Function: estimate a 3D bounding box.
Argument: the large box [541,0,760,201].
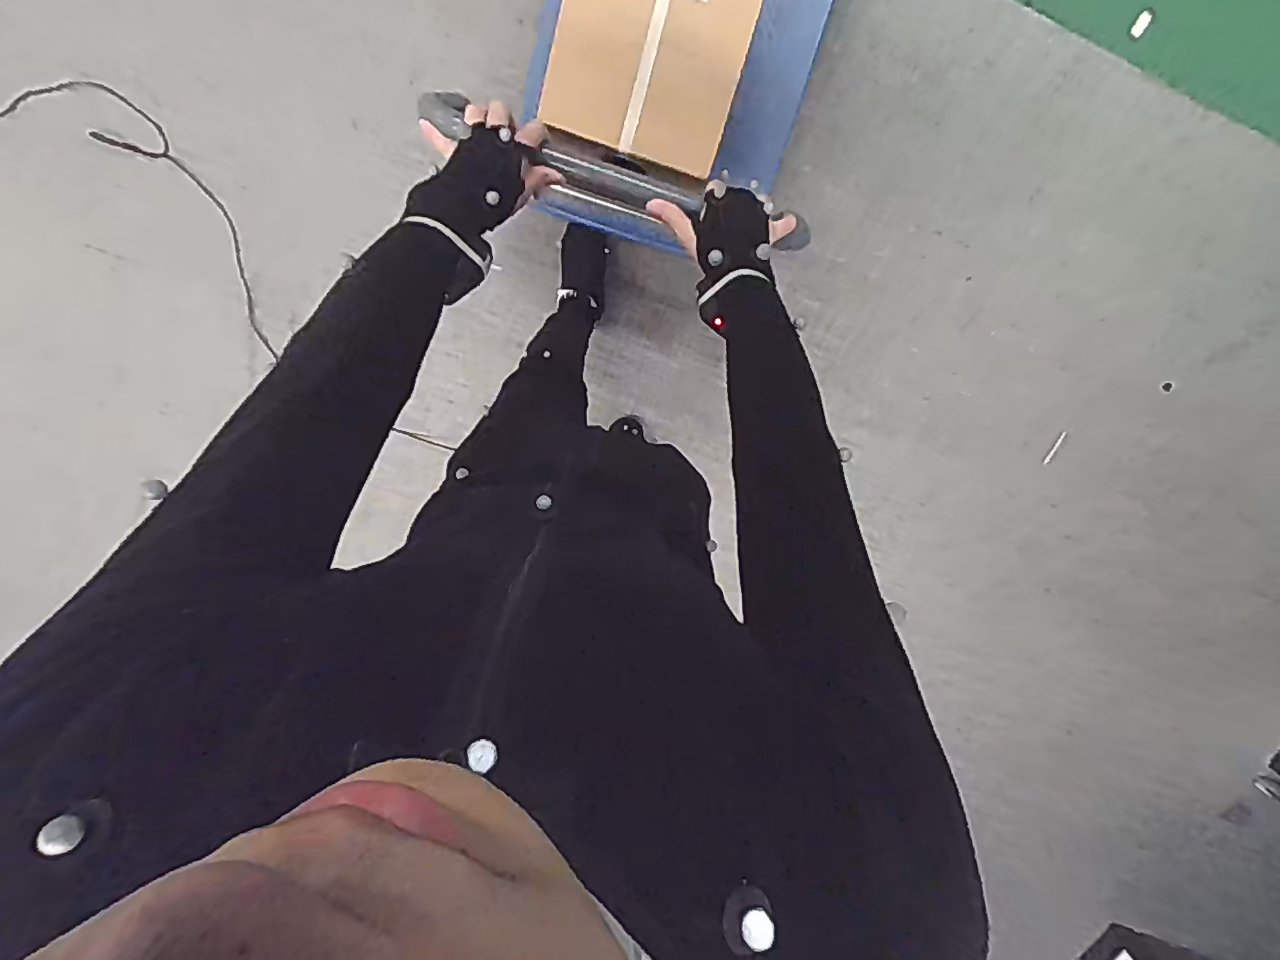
[{"bbox_3d":[0.029,-0.807,1.022,0.320,0.320,0.408,16,107,-6],"label":"large box"}]
